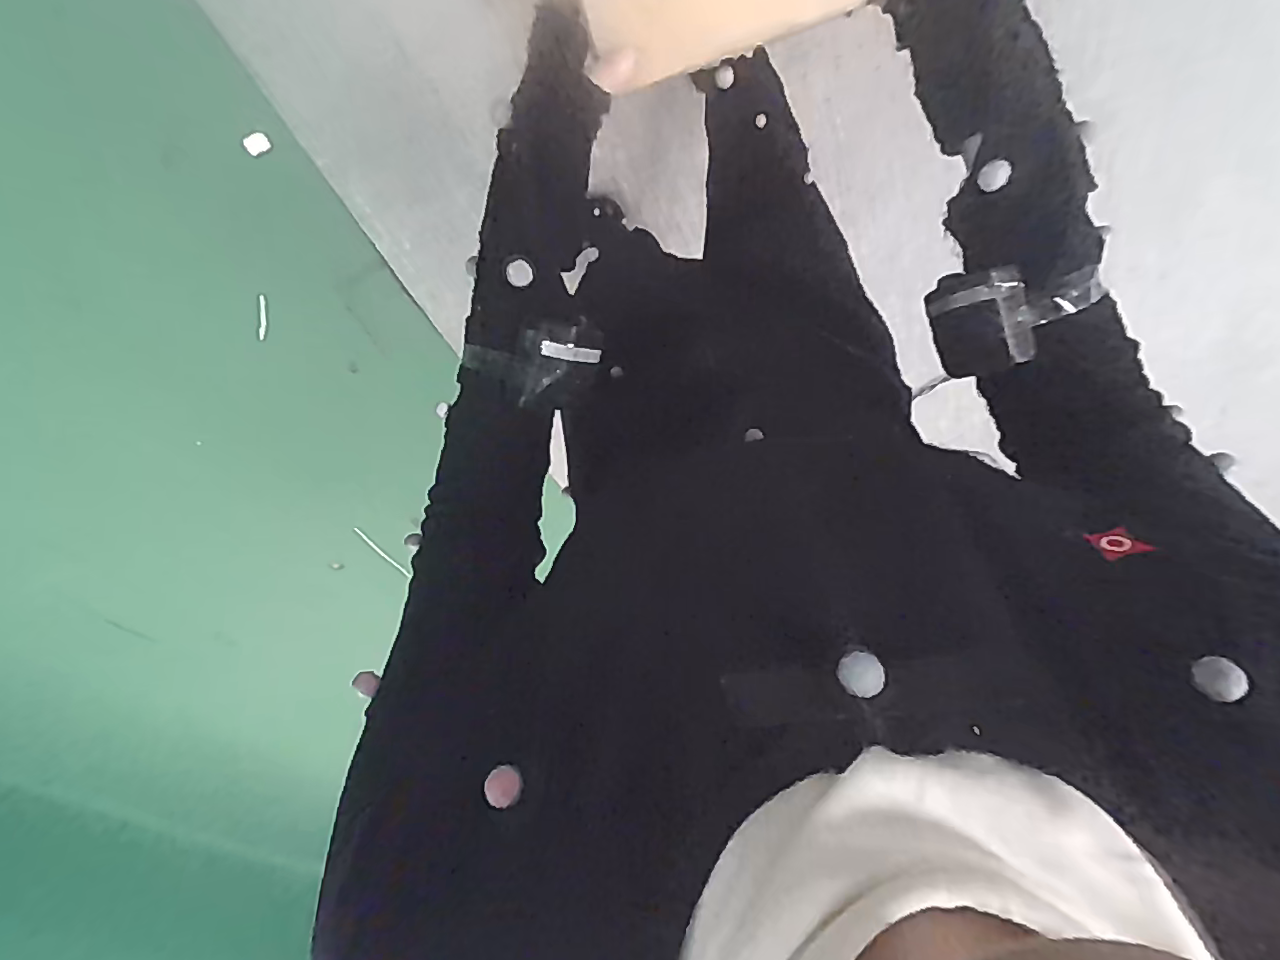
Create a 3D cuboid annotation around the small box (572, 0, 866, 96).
[{"bbox_3d":[0.034,-0.362,0.332,0.179,0.176,0.168,-16,123,6],"label":"small box"}]
